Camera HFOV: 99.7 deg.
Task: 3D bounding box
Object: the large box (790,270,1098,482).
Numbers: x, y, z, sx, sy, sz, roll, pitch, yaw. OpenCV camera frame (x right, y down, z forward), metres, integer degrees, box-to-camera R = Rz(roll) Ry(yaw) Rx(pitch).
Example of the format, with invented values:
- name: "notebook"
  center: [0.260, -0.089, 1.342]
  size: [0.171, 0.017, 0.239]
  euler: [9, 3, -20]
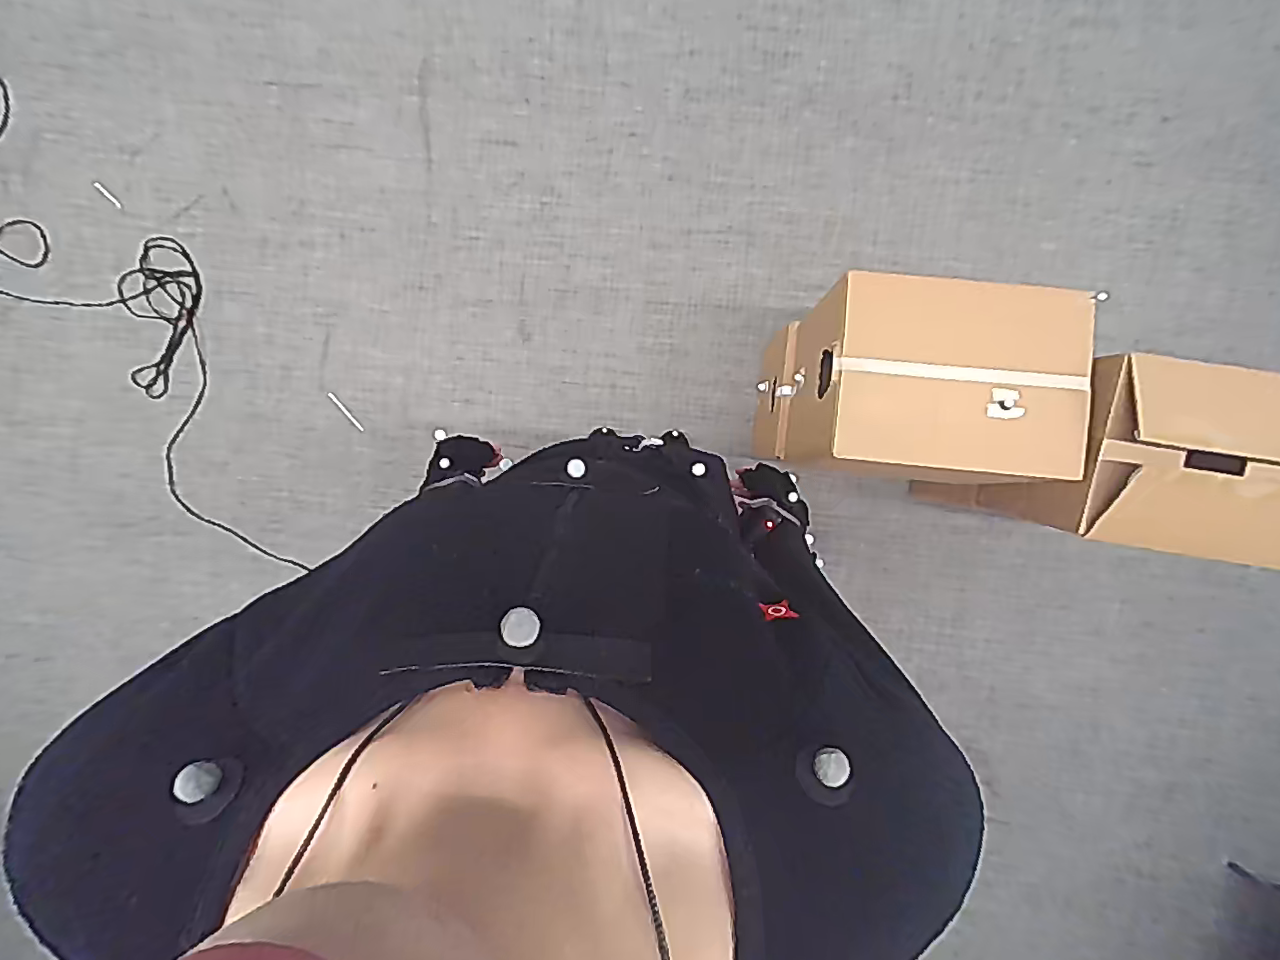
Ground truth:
- name: "large box"
  center: [0.525, -0.168, 1.014]
  size: [0.408, 0.320, 0.320]
  euler: [6, 89, 1]
